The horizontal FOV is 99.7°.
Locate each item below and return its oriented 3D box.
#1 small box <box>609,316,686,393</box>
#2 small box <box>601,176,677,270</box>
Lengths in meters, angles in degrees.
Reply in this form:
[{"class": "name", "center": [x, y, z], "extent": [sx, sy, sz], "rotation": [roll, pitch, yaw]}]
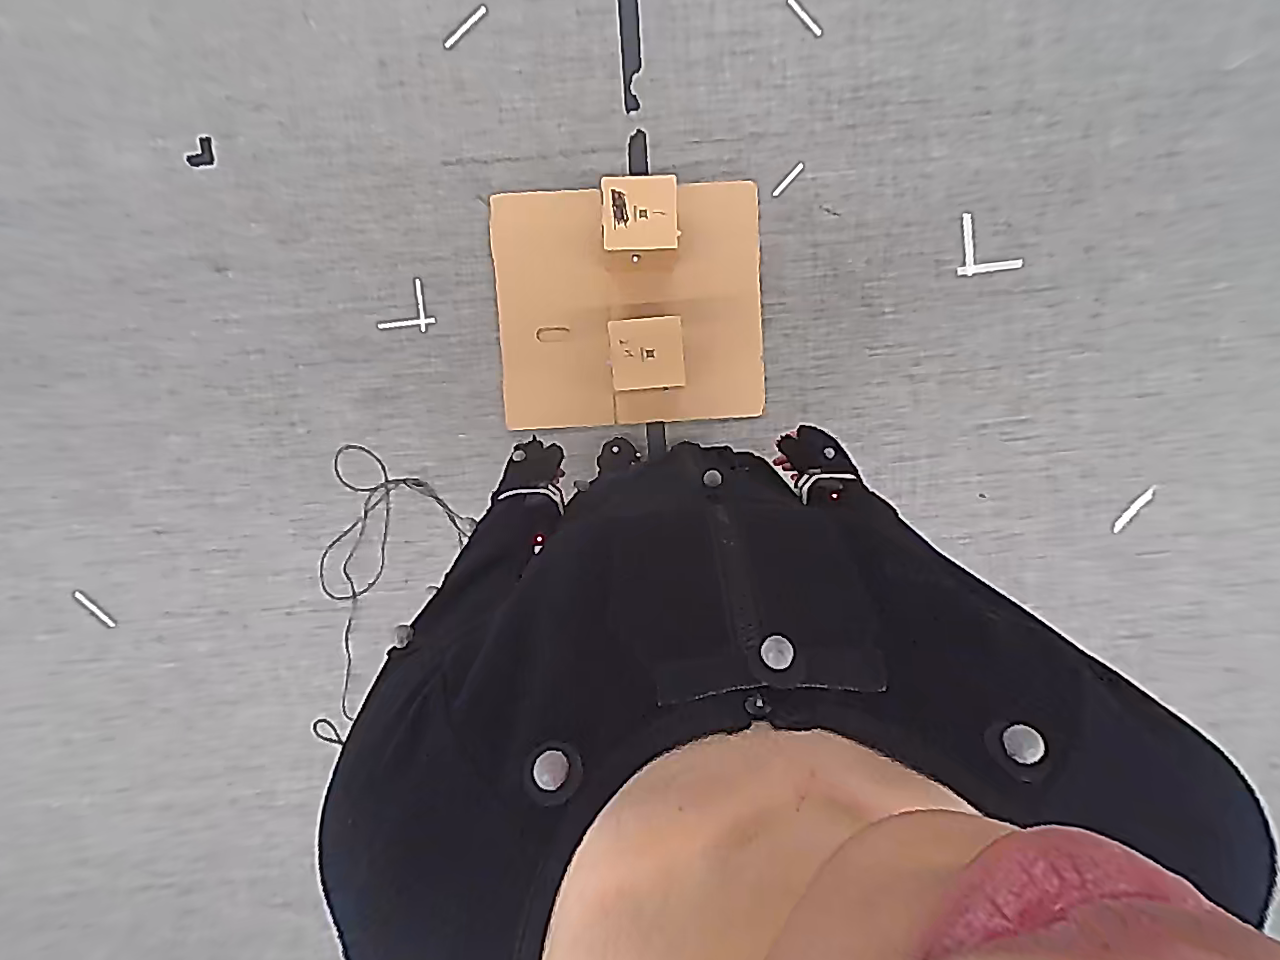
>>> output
[{"class": "small box", "center": [0.018, -0.312, 1.369], "extent": [0.179, 0.176, 0.168], "rotation": [-4, 95, 1]}, {"class": "small box", "center": [0.000, -0.628, 1.340], "extent": [0.179, 0.176, 0.168], "rotation": [-1, 95, 0]}]
